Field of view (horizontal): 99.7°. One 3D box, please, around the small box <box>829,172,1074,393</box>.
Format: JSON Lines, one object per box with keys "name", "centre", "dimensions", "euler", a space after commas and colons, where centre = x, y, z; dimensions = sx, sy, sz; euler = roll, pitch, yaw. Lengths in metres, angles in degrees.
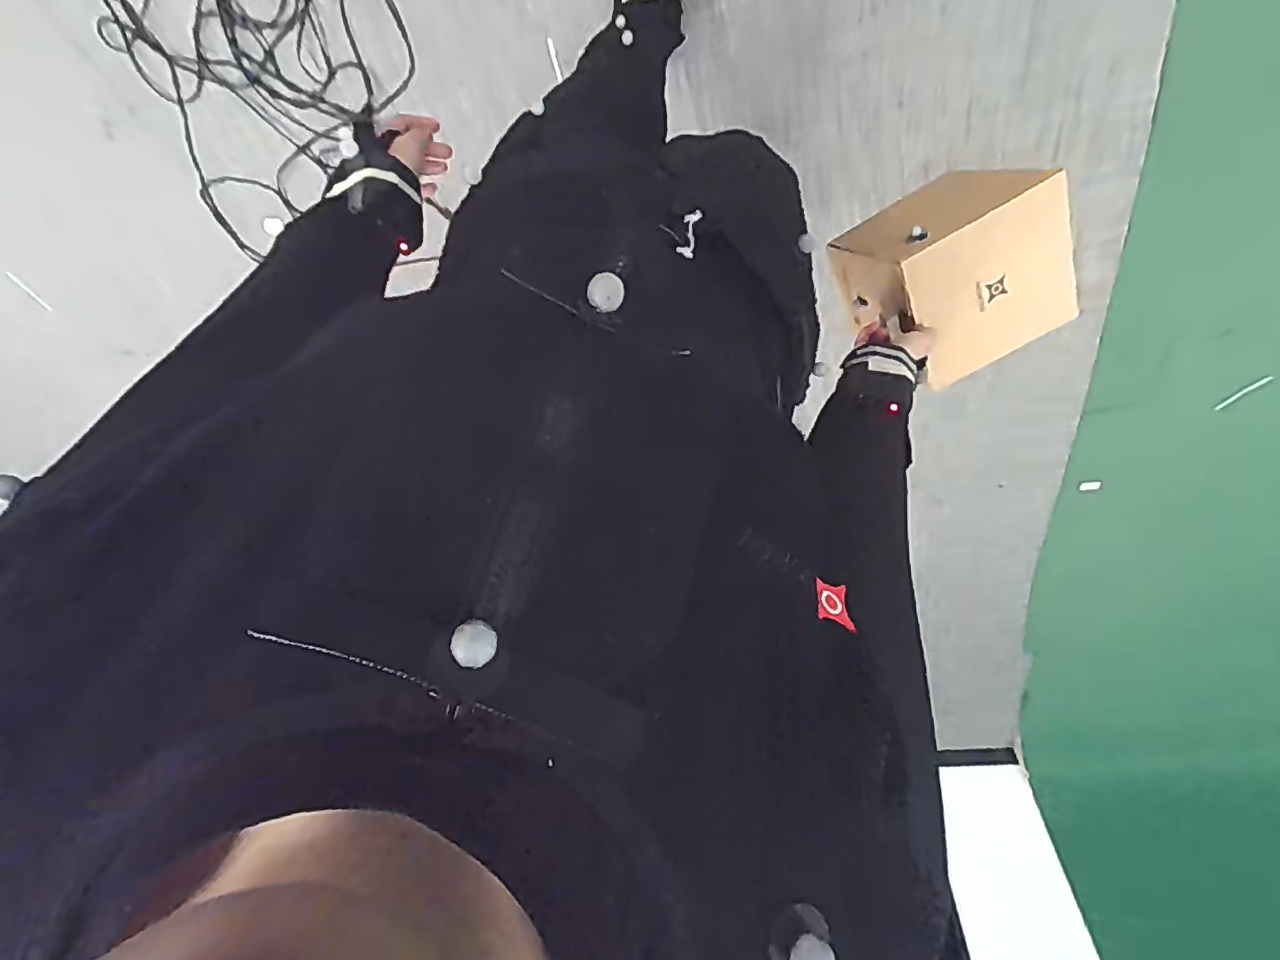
{"name": "small box", "centre": [0.355, -0.238, 0.633], "dimensions": [0.179, 0.176, 0.168], "euler": [-29, 121, 8]}
